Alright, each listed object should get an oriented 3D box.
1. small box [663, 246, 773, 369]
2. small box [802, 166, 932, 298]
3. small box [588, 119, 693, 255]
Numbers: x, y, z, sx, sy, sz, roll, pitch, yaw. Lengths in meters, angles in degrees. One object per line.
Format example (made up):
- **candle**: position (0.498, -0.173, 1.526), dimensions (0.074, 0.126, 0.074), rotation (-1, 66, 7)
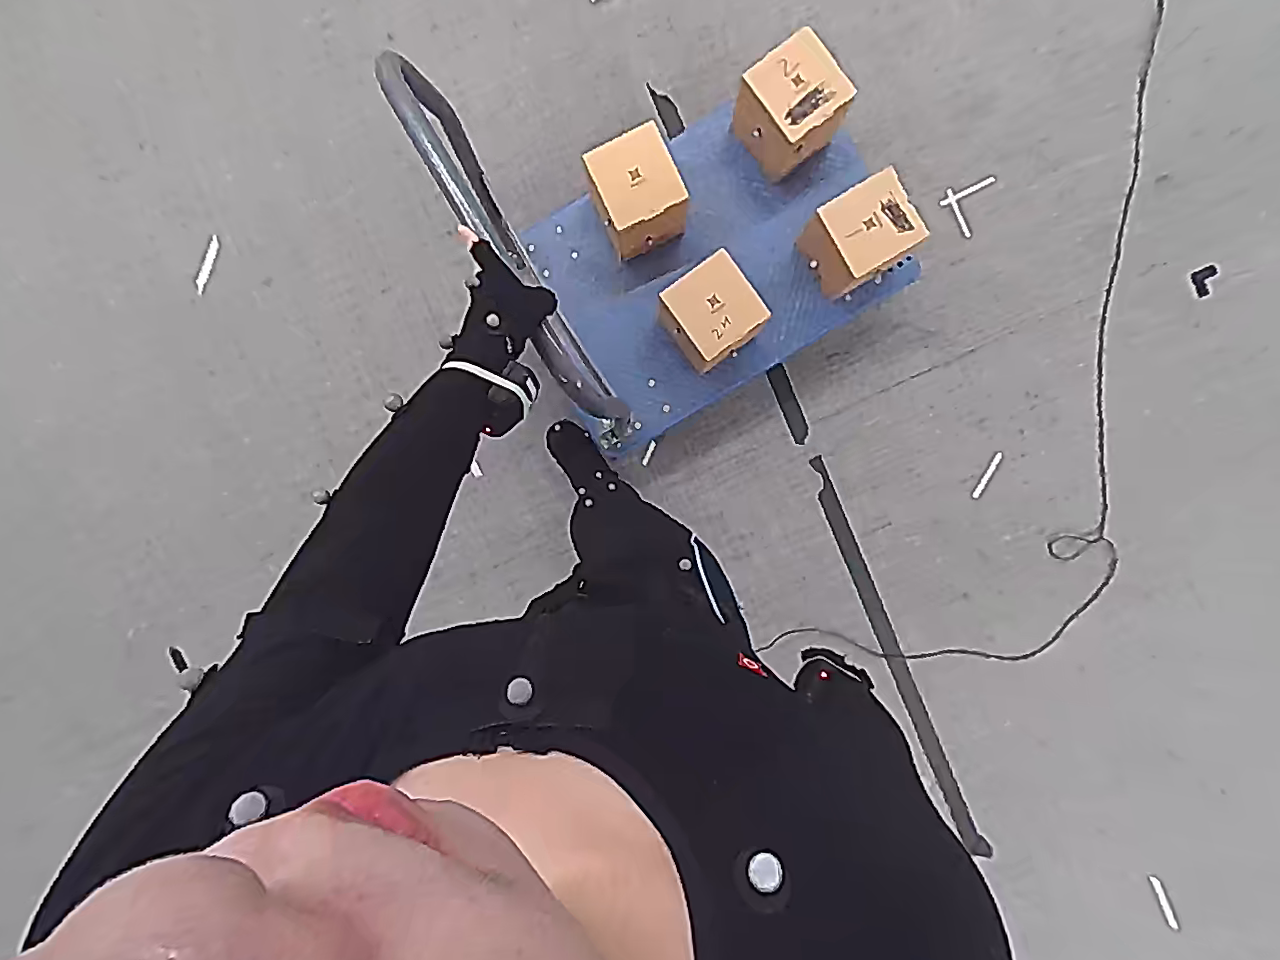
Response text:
- **small box**: position (0.160, -0.367, 1.189), dimensions (0.168, 0.176, 0.179), rotation (-35, 91, 3)
- **small box**: position (0.481, -0.527, 1.175), dimensions (0.179, 0.176, 0.168), rotation (-30, 91, 4)
- **small box**: position (0.000, -0.629, 1.183), dimensions (0.168, 0.176, 0.179), rotation (-26, 93, 2)
